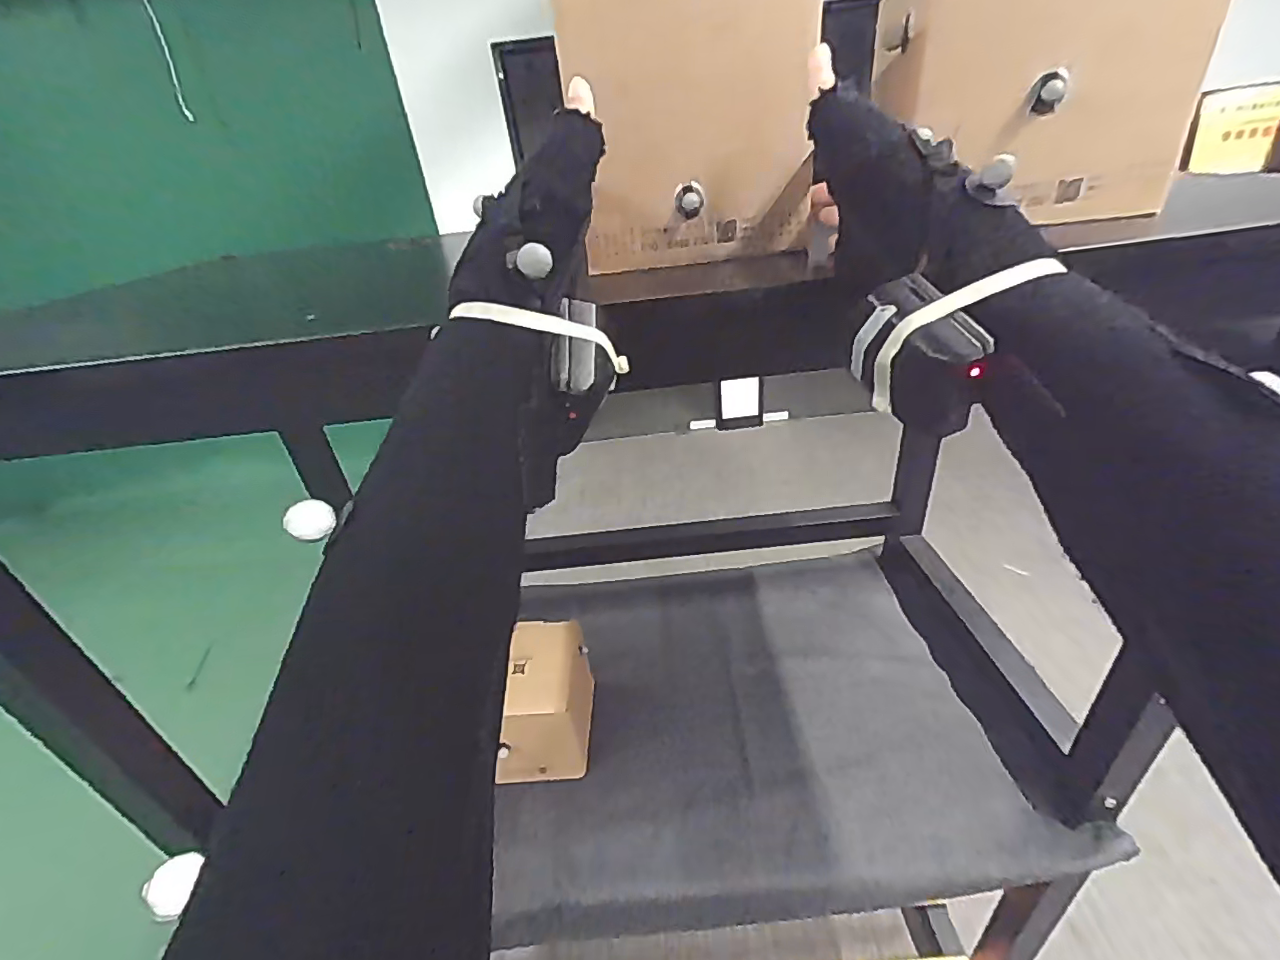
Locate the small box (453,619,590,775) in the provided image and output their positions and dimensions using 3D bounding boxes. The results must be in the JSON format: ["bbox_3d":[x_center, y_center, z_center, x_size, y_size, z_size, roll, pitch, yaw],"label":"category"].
[{"bbox_3d":[-0.177,0.353,0.875,0.168,0.176,0.179,-5,30,3],"label":"small box"}]

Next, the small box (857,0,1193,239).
[{"bbox_3d":[0.275,-0.292,0.425,0.168,0.176,0.179,0,31,12],"label":"small box"}]
